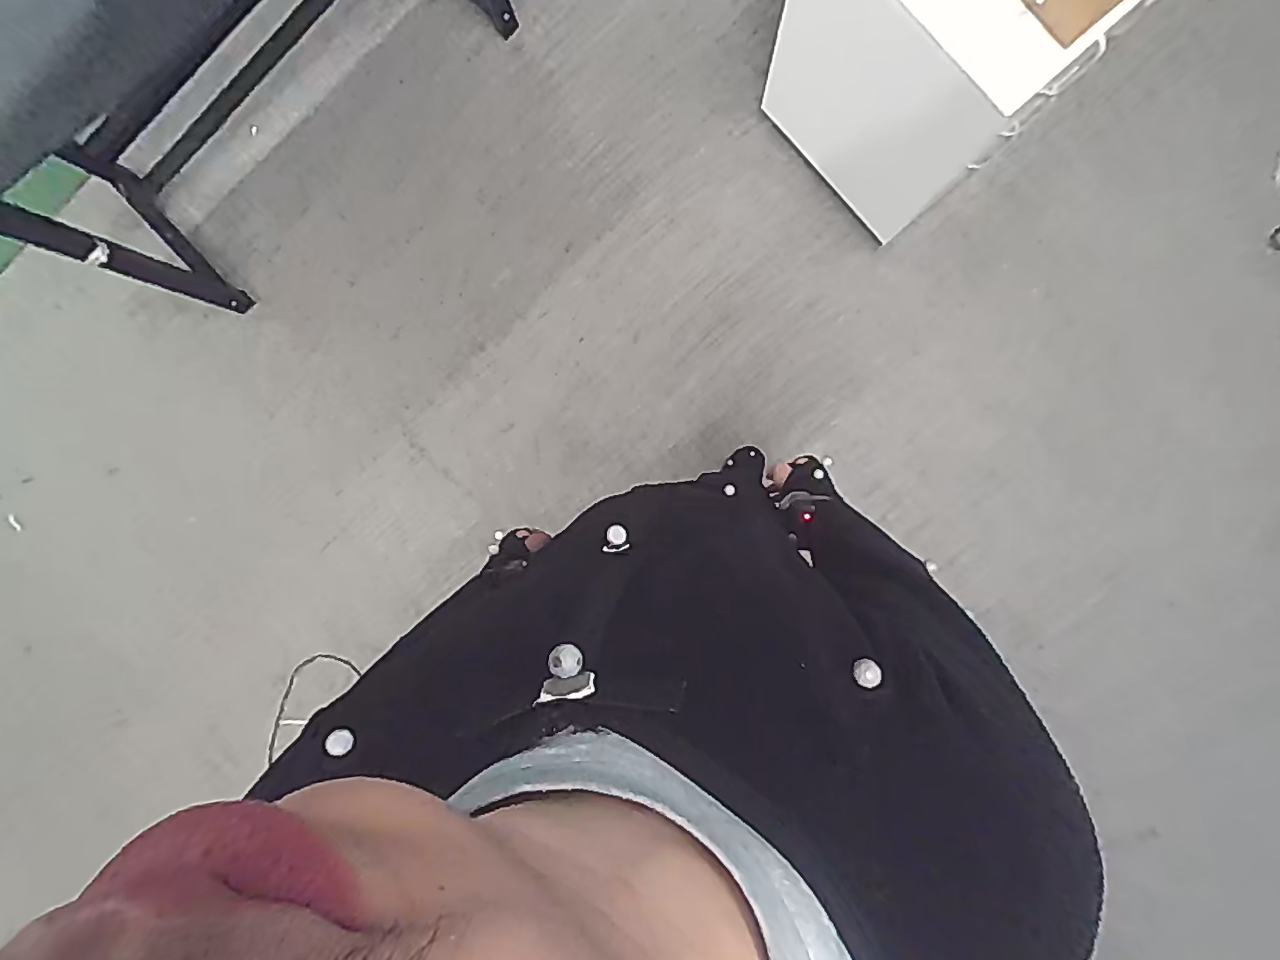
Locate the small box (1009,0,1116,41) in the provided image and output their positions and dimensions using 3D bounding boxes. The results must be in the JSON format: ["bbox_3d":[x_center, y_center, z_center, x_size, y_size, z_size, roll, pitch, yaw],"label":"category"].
[{"bbox_3d":[0.694,-0.825,0.820,0.168,0.176,0.179,-40,90,3],"label":"small box"}]
